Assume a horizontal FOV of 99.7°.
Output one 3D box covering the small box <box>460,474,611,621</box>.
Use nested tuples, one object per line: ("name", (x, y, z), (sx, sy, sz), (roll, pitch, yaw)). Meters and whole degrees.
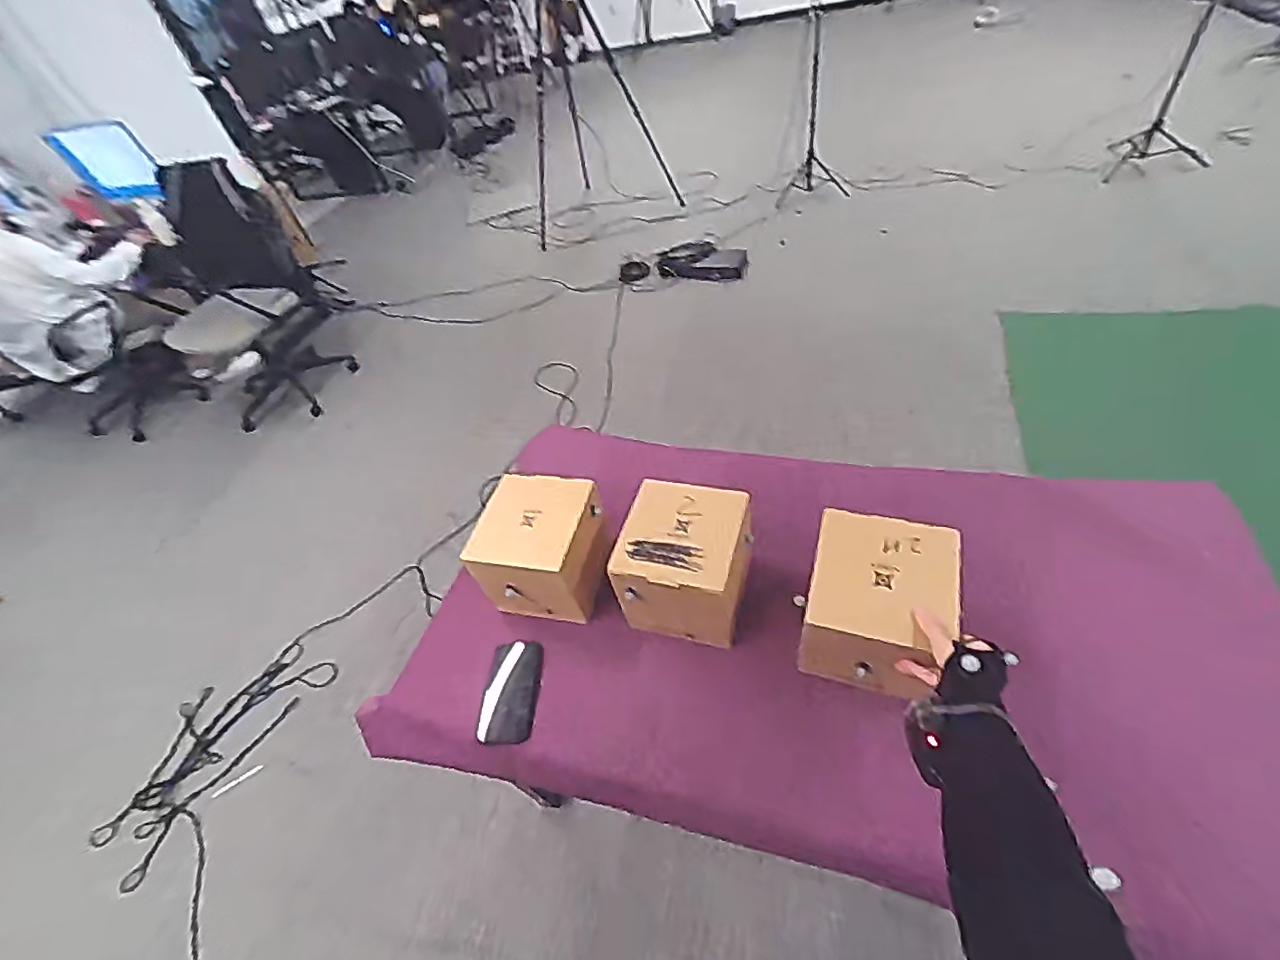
("small box", (-0.158, 0.112, 0.890), (0.168, 0.176, 0.179), (4, 48, 17))

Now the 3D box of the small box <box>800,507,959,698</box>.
("small box", (0.312, 0.165, 0.723), (0.168, 0.176, 0.179), (10, 53, 20))
